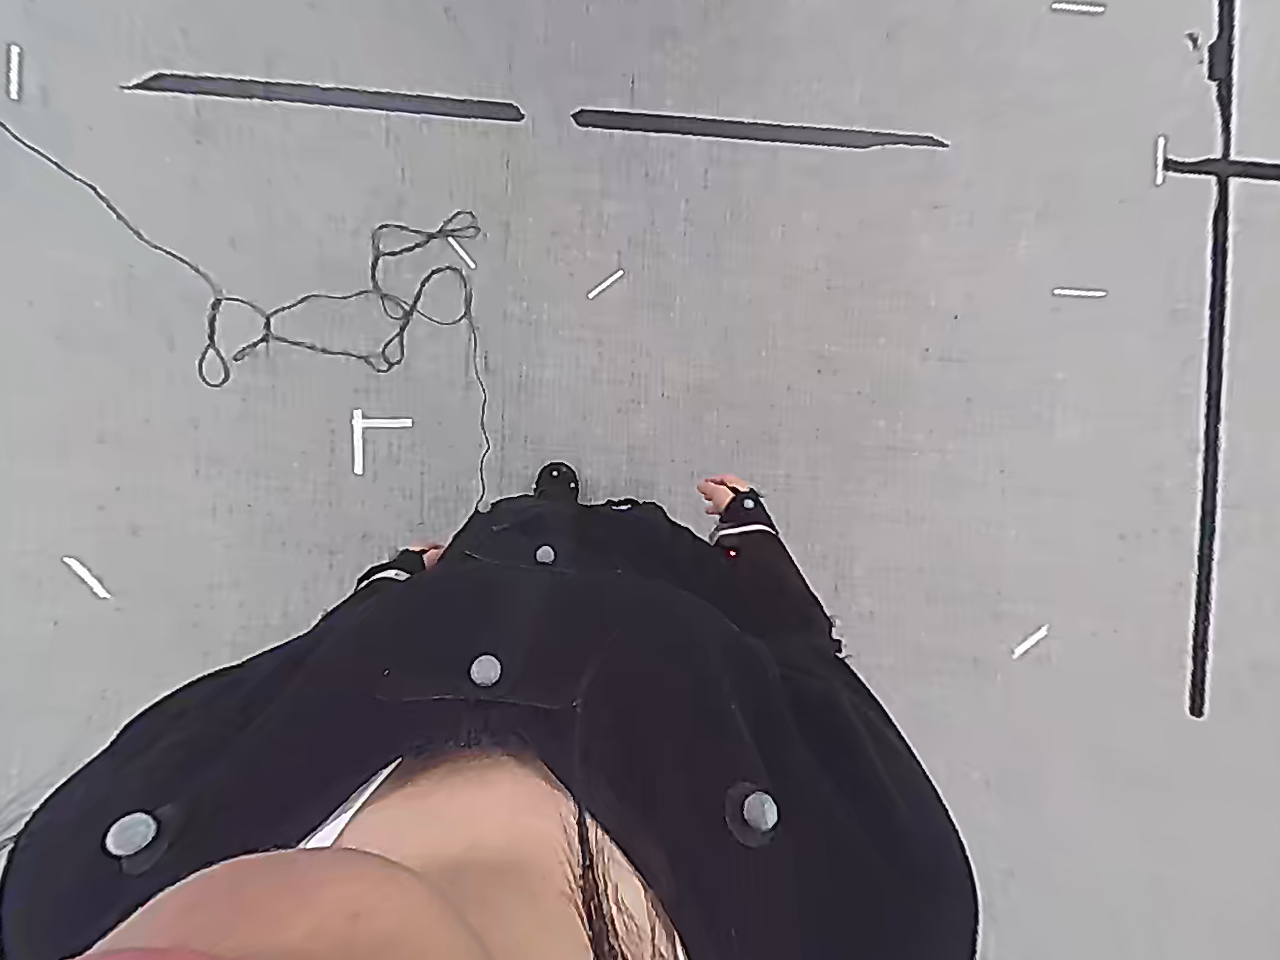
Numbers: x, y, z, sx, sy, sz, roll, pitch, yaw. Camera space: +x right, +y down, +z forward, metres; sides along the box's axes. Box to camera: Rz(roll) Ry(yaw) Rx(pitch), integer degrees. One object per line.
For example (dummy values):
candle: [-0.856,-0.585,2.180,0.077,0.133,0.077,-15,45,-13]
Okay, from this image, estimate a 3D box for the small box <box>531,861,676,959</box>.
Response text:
small box: [-0.048,0.610,0.672,0.168,0.176,0.179,1,91,-3]
